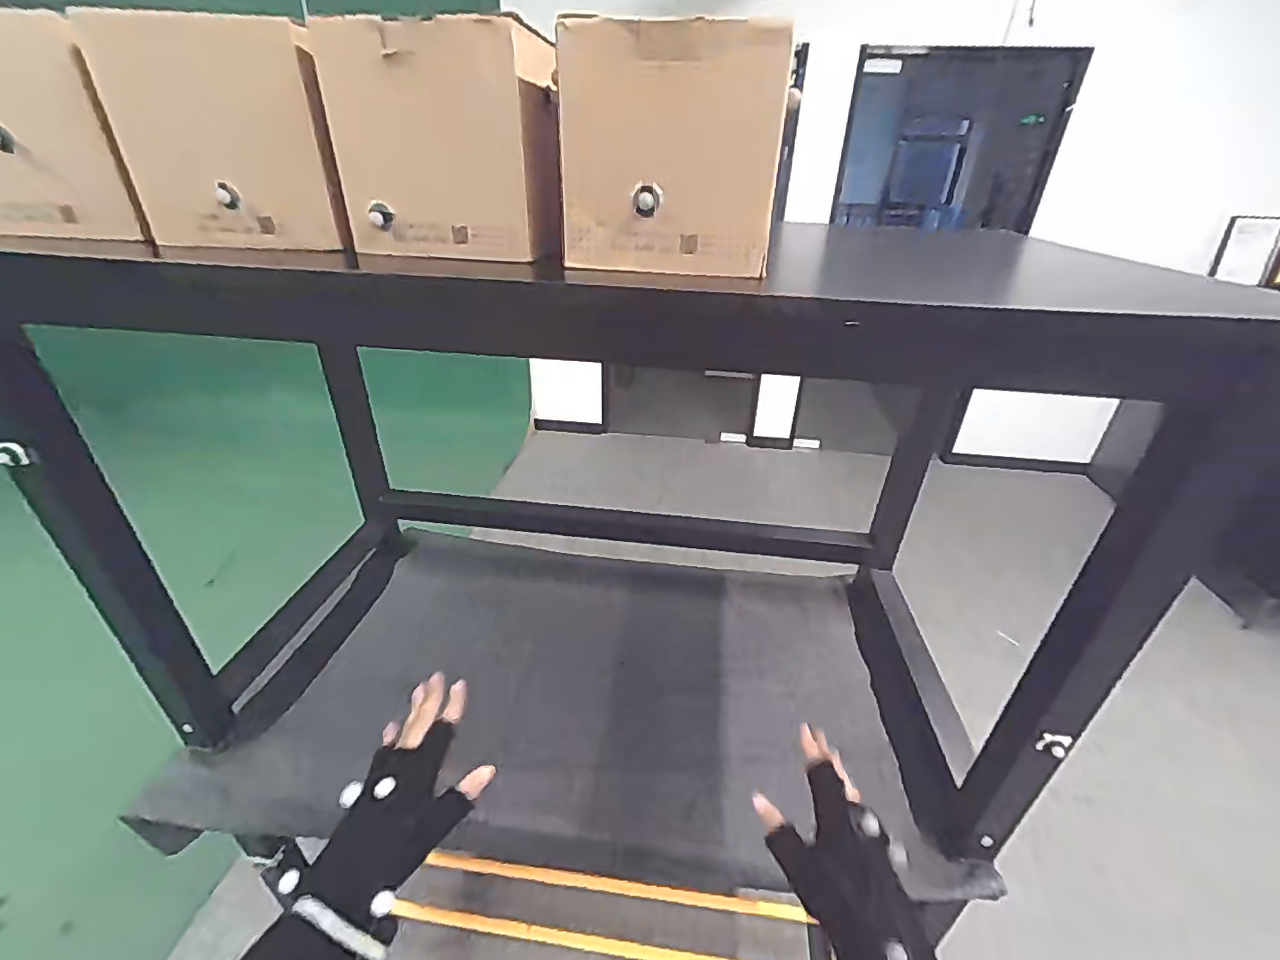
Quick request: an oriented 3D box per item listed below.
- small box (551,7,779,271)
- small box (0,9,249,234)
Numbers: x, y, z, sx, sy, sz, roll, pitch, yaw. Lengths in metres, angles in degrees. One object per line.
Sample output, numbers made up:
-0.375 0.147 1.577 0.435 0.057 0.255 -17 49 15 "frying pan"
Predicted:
0.024 -0.296 0.489 0.168 0.176 0.179 5 31 6 "small box"
-0.545 -0.350 0.549 0.168 0.176 0.179 3 29 -1 "small box"
